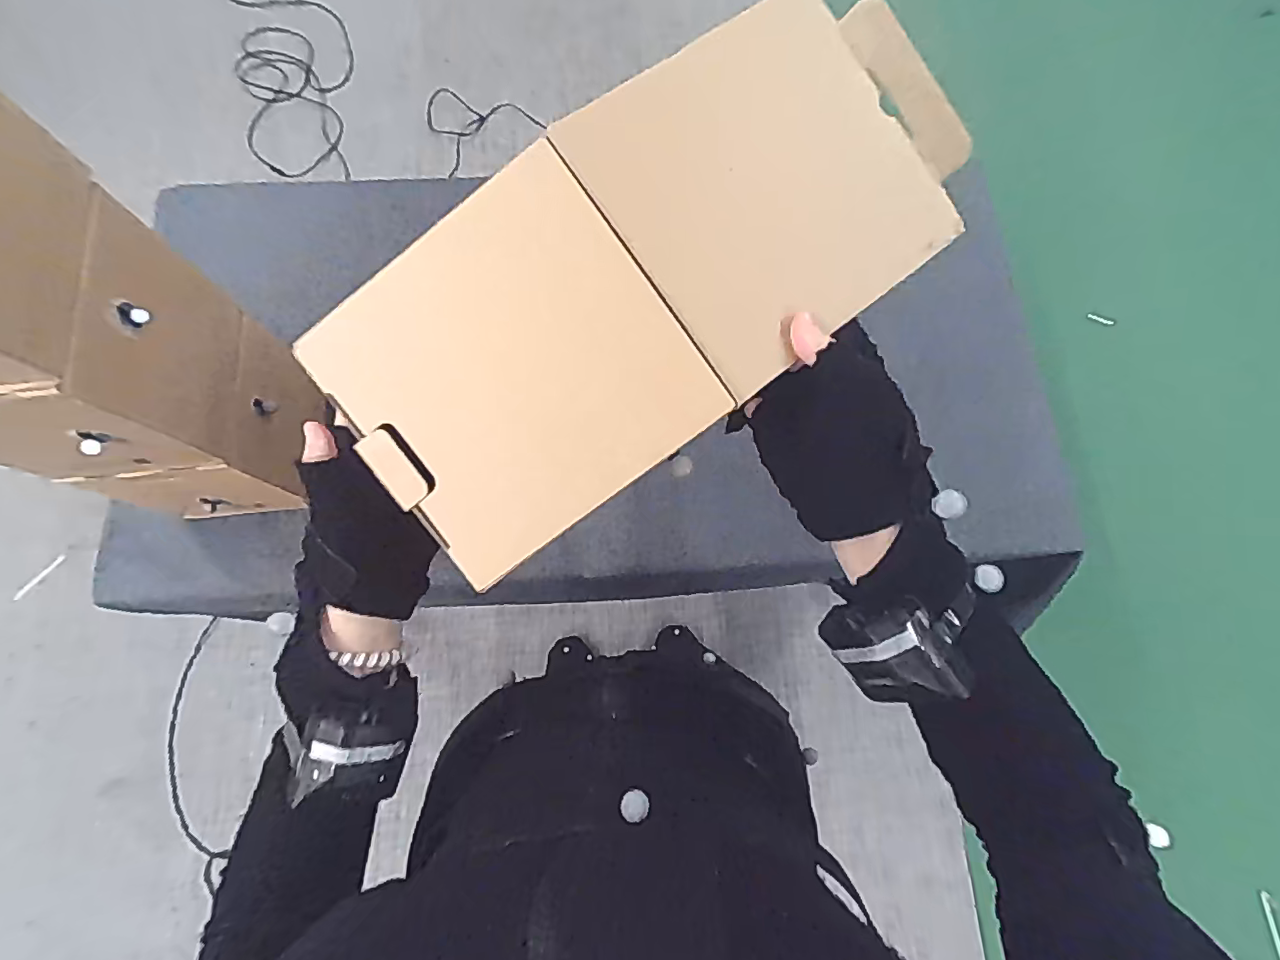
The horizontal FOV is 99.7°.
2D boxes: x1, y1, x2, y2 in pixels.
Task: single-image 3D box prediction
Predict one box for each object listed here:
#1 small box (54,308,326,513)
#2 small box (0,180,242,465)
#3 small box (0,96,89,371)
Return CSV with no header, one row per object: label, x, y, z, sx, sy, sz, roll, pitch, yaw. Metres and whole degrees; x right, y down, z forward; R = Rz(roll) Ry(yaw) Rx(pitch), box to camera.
small box,-0.485,-0.071,0.616,0.168,0.176,0.179,-5,75,-3
small box,-0.480,-0.116,0.460,0.168,0.176,0.179,-5,75,-4
small box,-0.476,-0.167,0.304,0.168,0.176,0.179,-6,75,-5
